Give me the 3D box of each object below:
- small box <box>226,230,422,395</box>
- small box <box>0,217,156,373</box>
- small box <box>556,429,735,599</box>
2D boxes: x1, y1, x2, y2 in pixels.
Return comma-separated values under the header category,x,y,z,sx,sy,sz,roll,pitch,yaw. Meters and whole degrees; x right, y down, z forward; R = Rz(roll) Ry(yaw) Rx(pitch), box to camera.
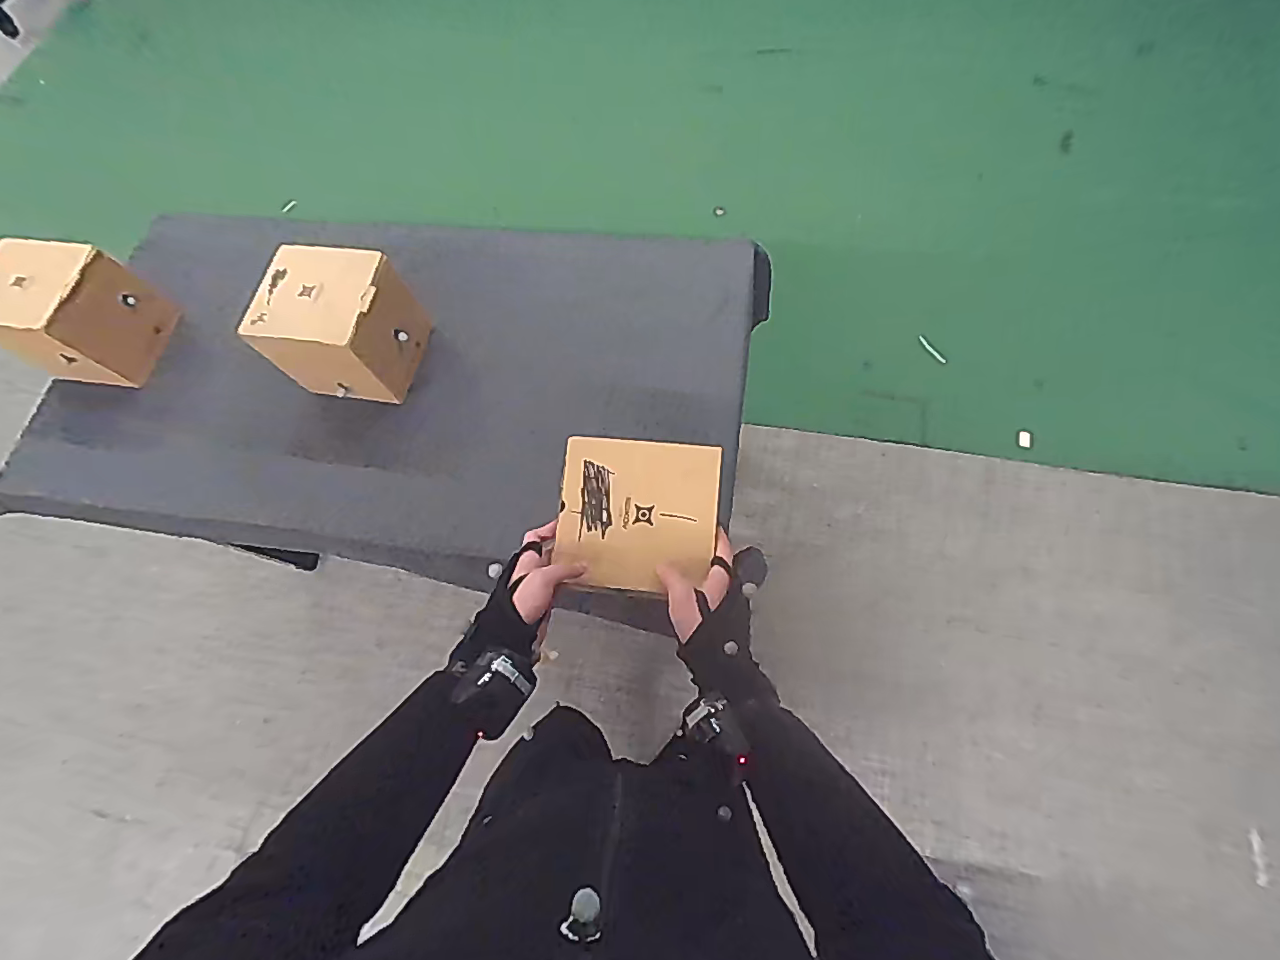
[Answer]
category,x,y,z,sx,sy,sz,roll,pitch,yaw
small box,-0.464,-0.248,0.831,0.179,0.176,0.168,9,69,4
small box,-0.944,-0.287,0.859,0.179,0.176,0.168,6,67,5
small box,0.011,0.050,0.650,0.179,0.176,0.168,6,75,4
